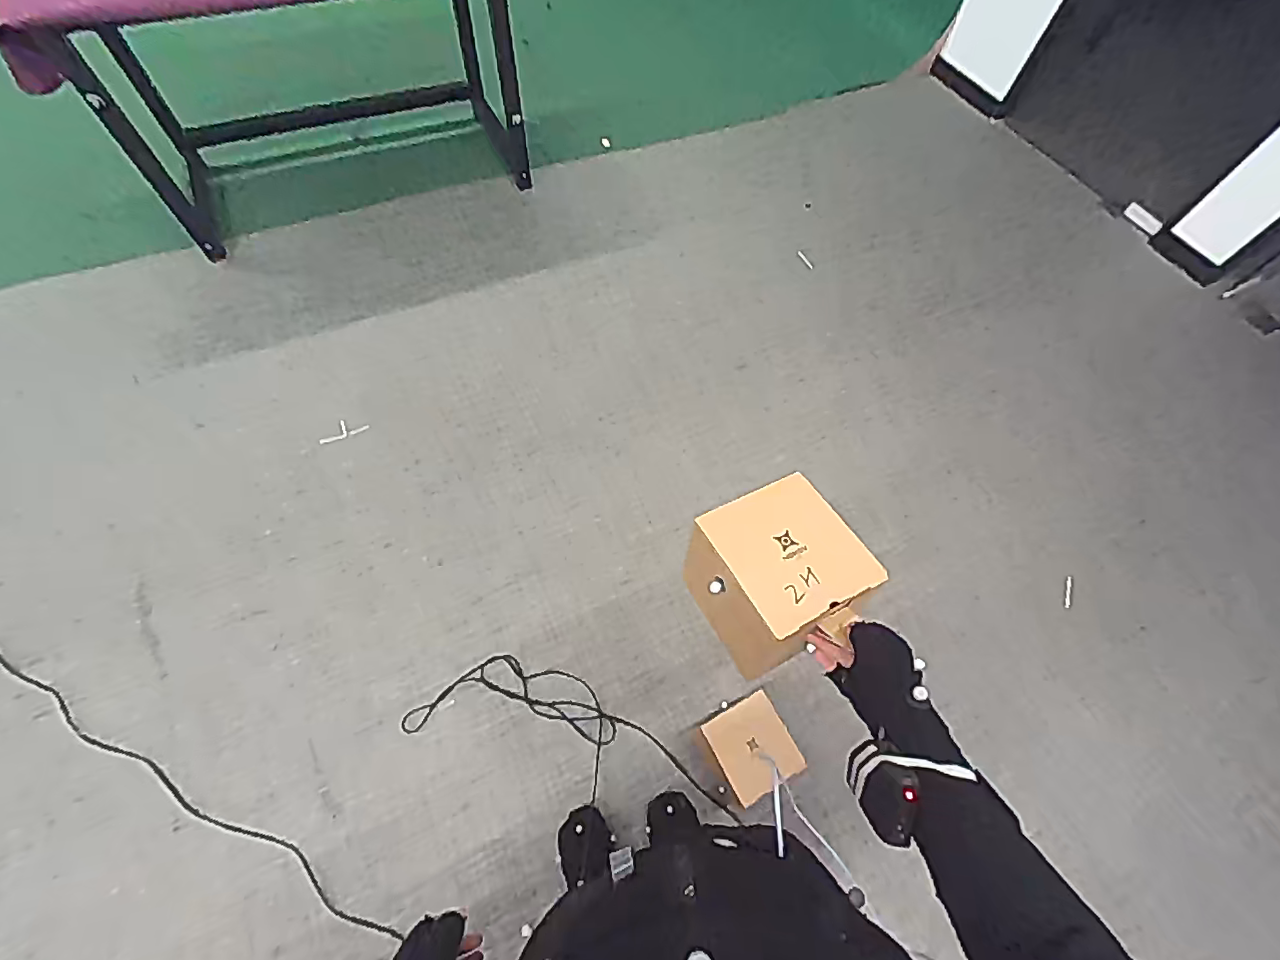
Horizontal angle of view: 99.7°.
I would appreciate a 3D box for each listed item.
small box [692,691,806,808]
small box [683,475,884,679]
[{"bbox_3d":[0.236,0.604,1.220,0.168,0.176,0.179,-24,67,-16],"label":"small box"},{"bbox_3d":[0.171,0.130,0.711,0.168,0.176,0.179,-23,59,-17],"label":"small box"}]
